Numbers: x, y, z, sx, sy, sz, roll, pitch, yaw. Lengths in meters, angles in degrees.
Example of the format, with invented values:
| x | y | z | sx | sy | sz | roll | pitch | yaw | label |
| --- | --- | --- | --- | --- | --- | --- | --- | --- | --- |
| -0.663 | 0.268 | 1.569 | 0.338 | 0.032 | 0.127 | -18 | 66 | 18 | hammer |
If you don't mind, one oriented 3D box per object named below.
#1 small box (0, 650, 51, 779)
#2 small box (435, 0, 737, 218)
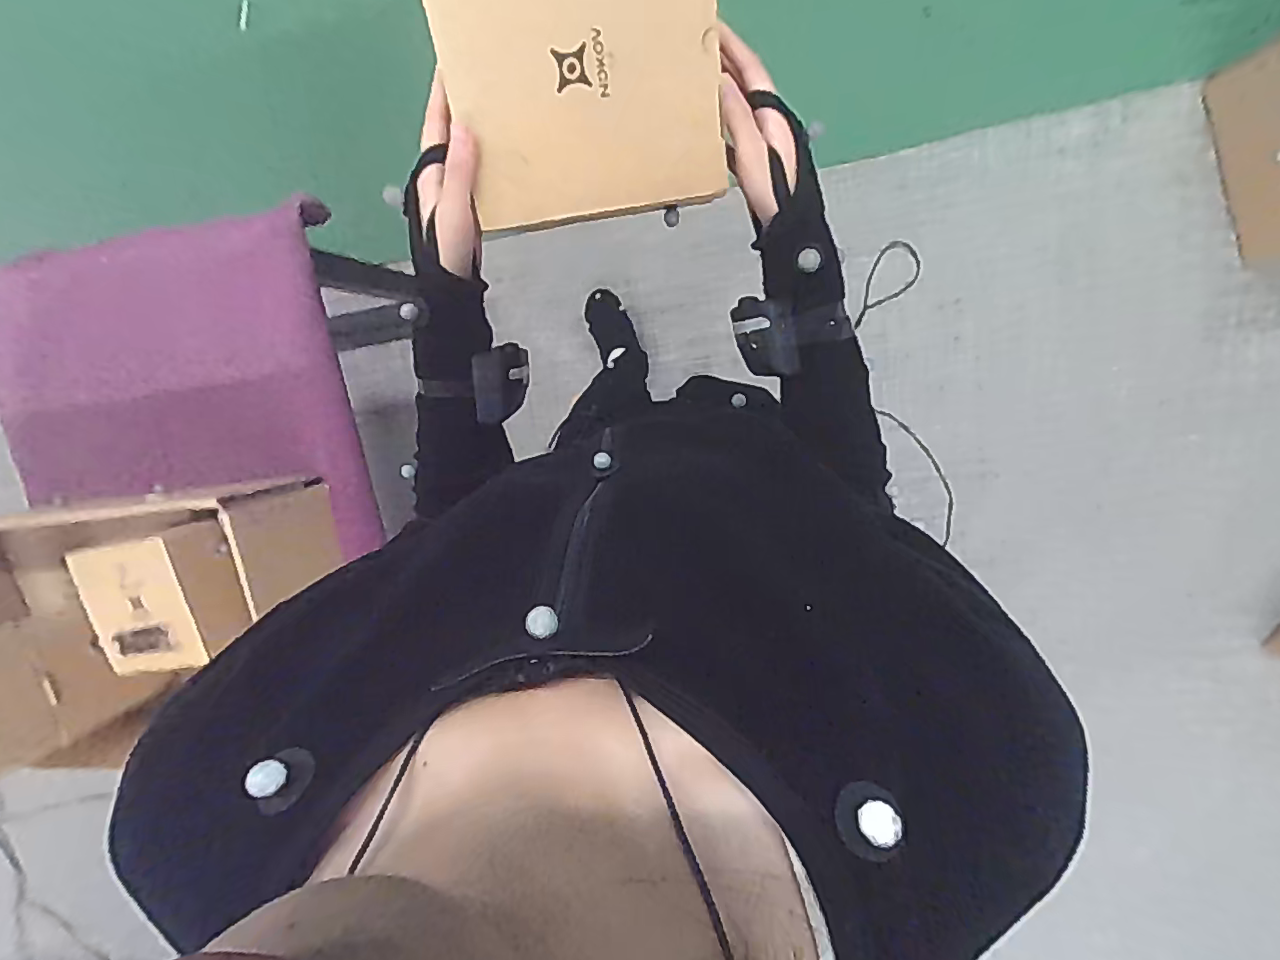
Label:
| x | y | z | sx | sy | sz | roll | pitch | yaw | label |
| --- | --- | --- | --- | --- | --- | --- | --- | --- | --- |
| -0.922 | 0.321 | 0.676 | 0.168 | 0.176 | 0.179 | -9 | 101 | 9 | small box |
| -0.029 | -0.295 | 0.401 | 0.179 | 0.176 | 0.168 | -7 | 115 | 4 | small box |
